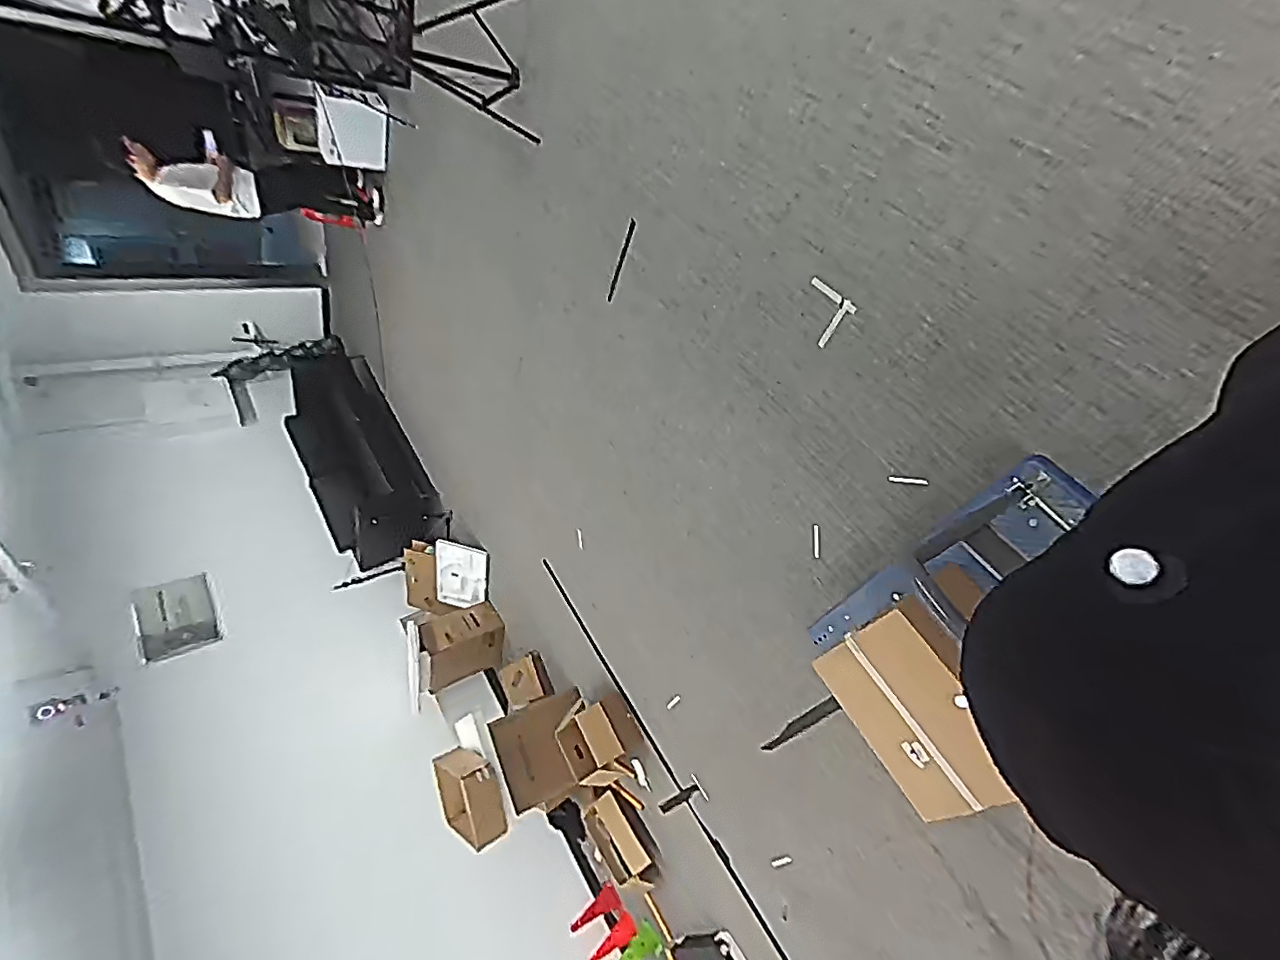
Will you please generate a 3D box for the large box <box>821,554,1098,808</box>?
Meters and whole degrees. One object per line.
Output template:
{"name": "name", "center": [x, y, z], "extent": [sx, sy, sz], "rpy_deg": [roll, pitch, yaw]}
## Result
{"name": "large box", "center": [0.720, 0.448, 1.254], "extent": [0.408, 0.320, 0.320], "rpy_deg": [54, 139, 22]}
